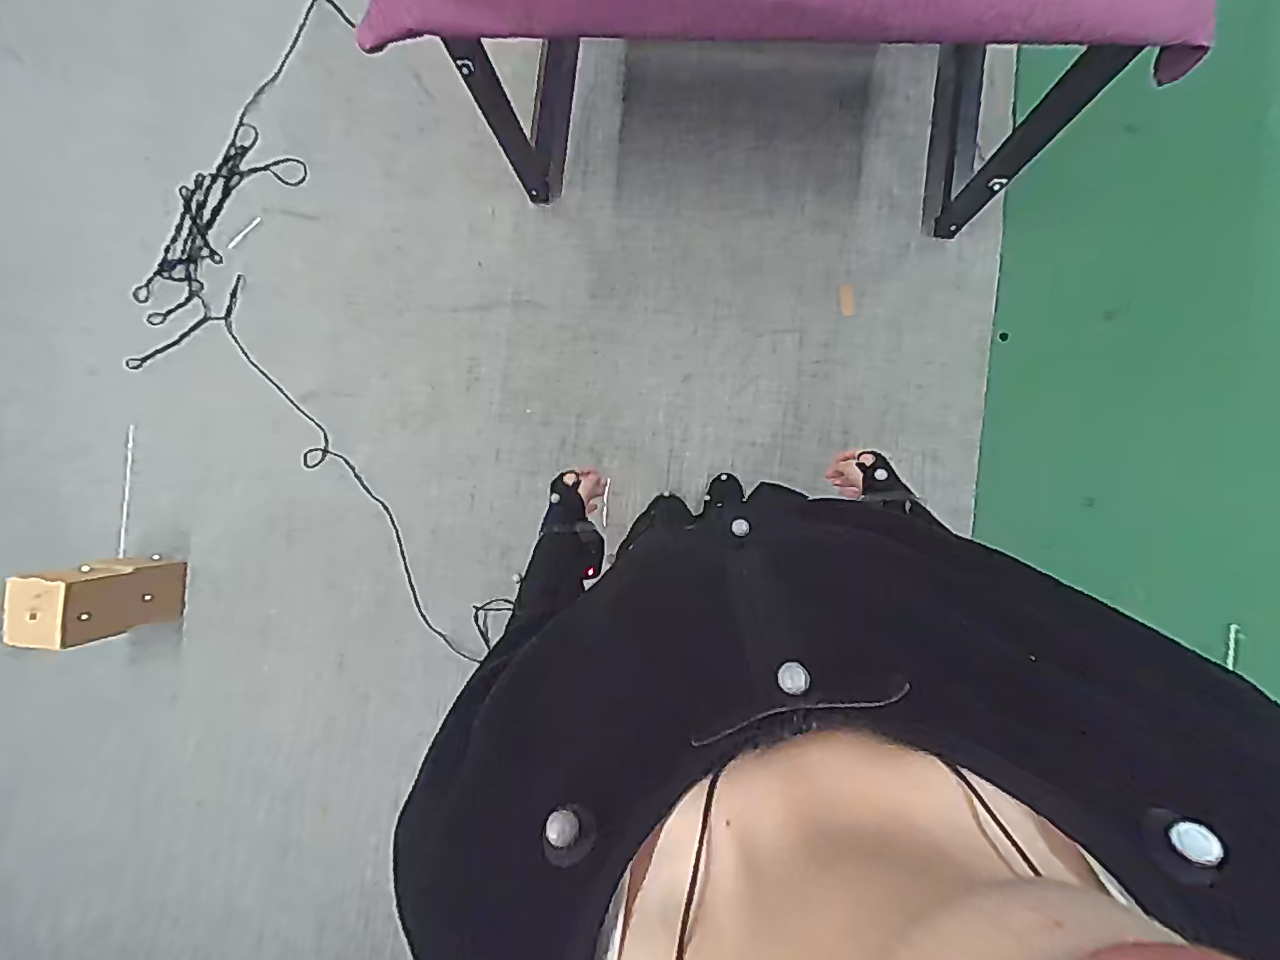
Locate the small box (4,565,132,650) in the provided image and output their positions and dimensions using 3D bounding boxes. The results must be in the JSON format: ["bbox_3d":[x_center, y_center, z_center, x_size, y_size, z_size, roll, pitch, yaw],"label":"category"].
[{"bbox_3d":[-1.510,0.332,1.436,0.168,0.176,0.179,5,89,5],"label":"small box"}]

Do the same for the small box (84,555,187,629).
[{"bbox_3d":[-1.492,0.325,1.599,0.168,0.176,0.179,5,89,6],"label":"small box"}]
